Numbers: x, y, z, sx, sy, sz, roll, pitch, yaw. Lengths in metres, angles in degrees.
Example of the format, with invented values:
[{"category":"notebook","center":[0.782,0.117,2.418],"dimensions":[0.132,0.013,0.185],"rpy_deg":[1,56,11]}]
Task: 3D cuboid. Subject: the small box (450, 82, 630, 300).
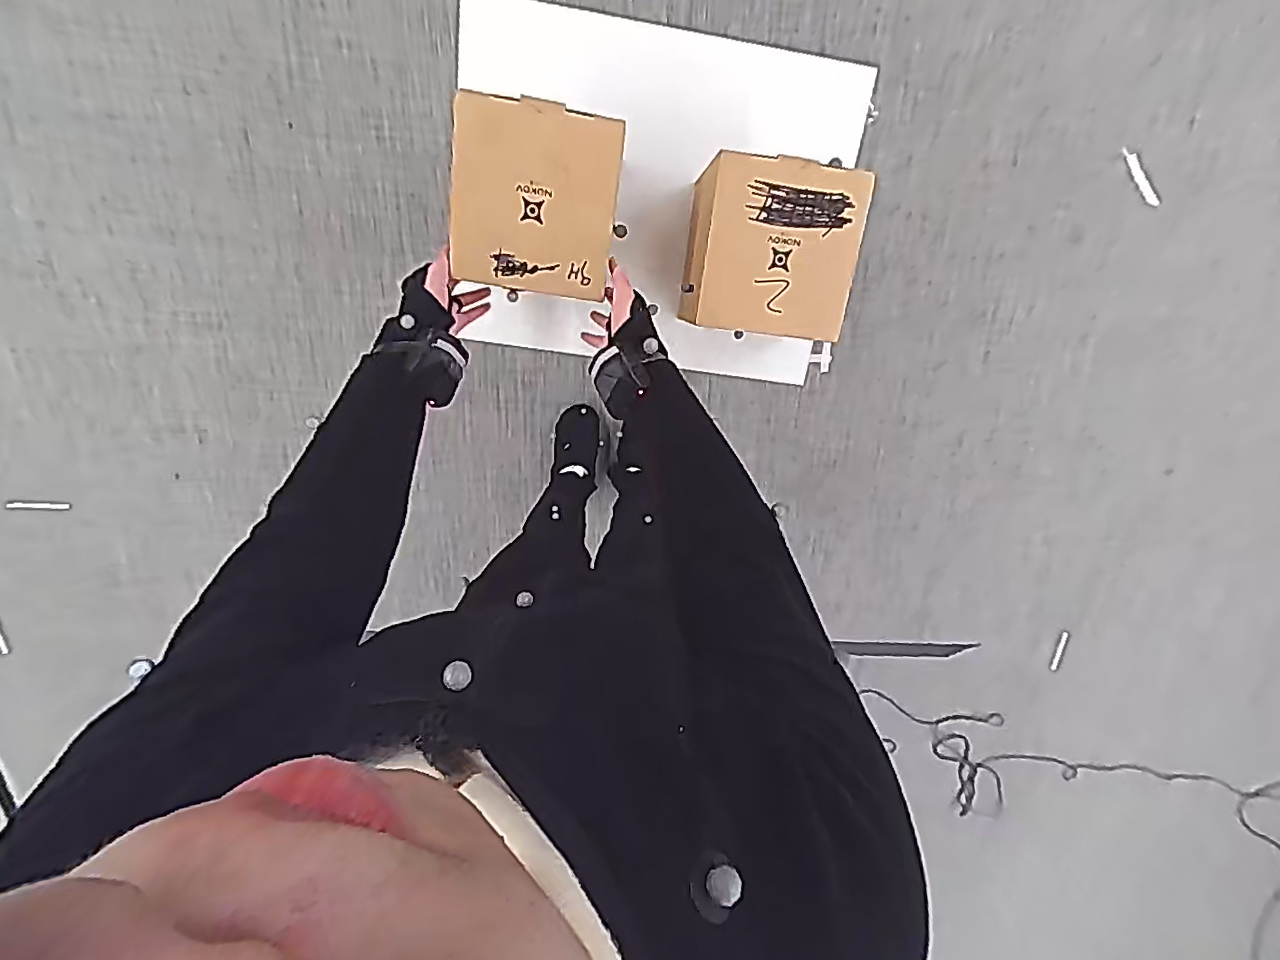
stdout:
[{"category":"small box","center":[-0.109,-0.312,0.623],"dimensions":[0.168,0.176,0.179],"rpy_deg":[8,108,-5]}]
